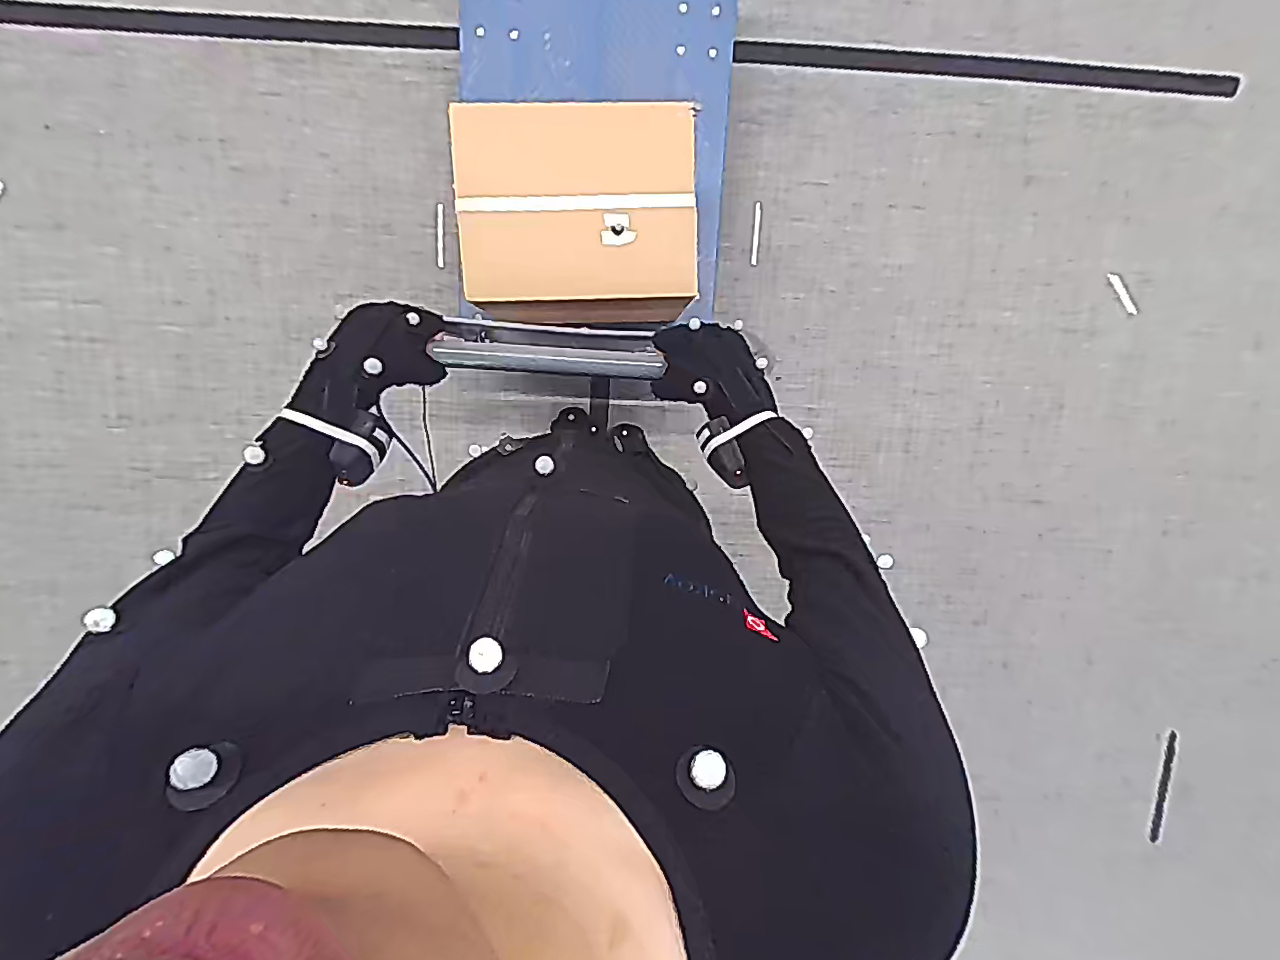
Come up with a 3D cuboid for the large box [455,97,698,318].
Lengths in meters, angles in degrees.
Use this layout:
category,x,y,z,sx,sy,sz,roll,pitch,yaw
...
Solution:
category,x,y,z,sx,sy,sz,roll,pitch,yaw
large box,-0.114,-0.508,1.073,0.408,0.320,0.320,-3,100,-4
